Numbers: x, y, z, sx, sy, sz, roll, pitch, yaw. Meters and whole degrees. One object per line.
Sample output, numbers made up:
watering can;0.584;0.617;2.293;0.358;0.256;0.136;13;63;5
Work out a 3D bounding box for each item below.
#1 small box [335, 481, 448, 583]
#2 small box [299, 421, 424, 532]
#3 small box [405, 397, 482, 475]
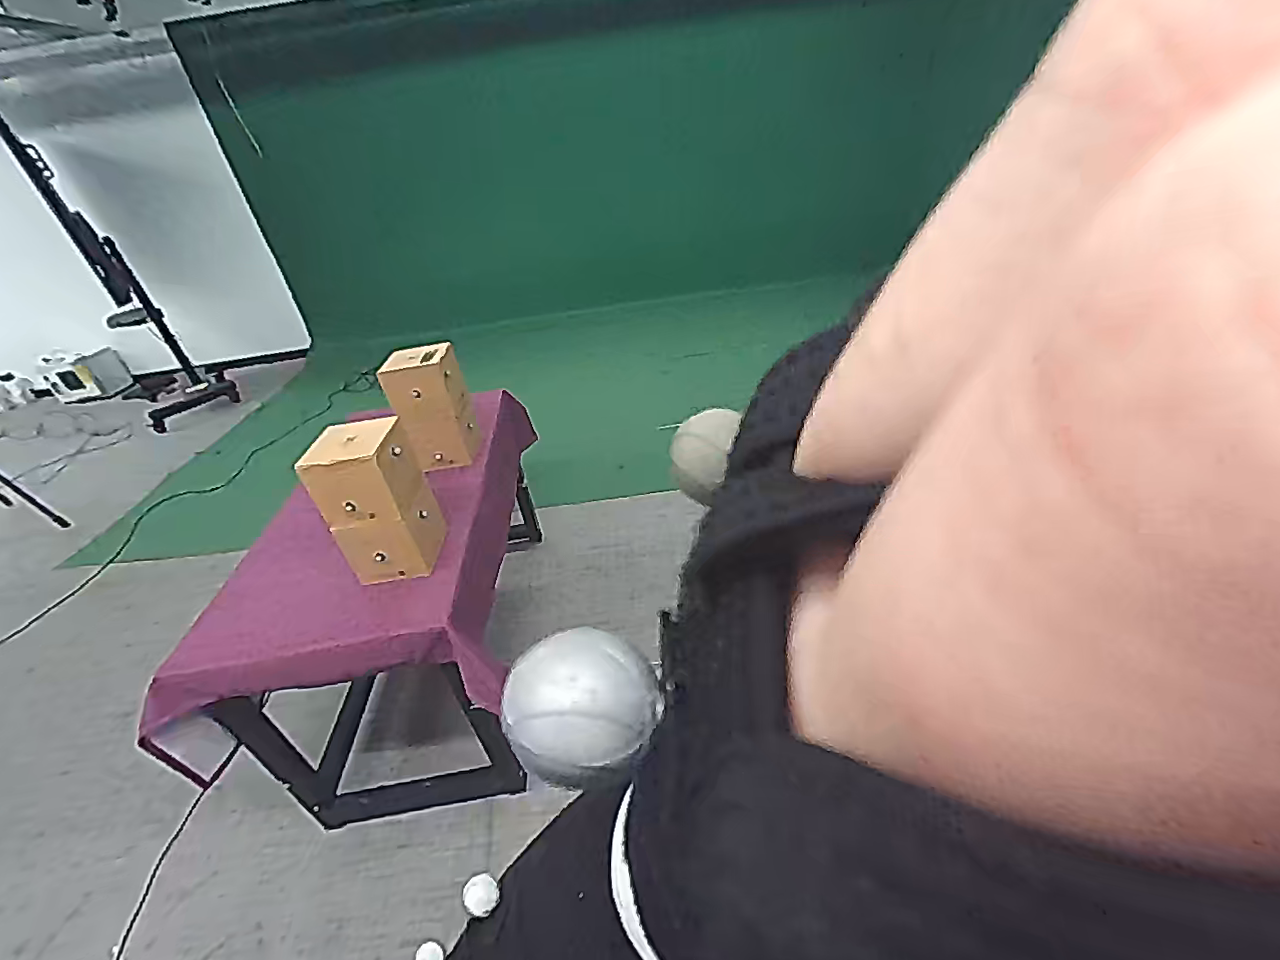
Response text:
small box;-0.577;0.128;1.284;0.168;0.176;0.179;-8;33;2
small box;-0.601;-0.009;1.198;0.168;0.176;0.179;-9;34;2
small box;-0.605;-0.138;1.691;0.168;0.176;0.179;-9;34;2
